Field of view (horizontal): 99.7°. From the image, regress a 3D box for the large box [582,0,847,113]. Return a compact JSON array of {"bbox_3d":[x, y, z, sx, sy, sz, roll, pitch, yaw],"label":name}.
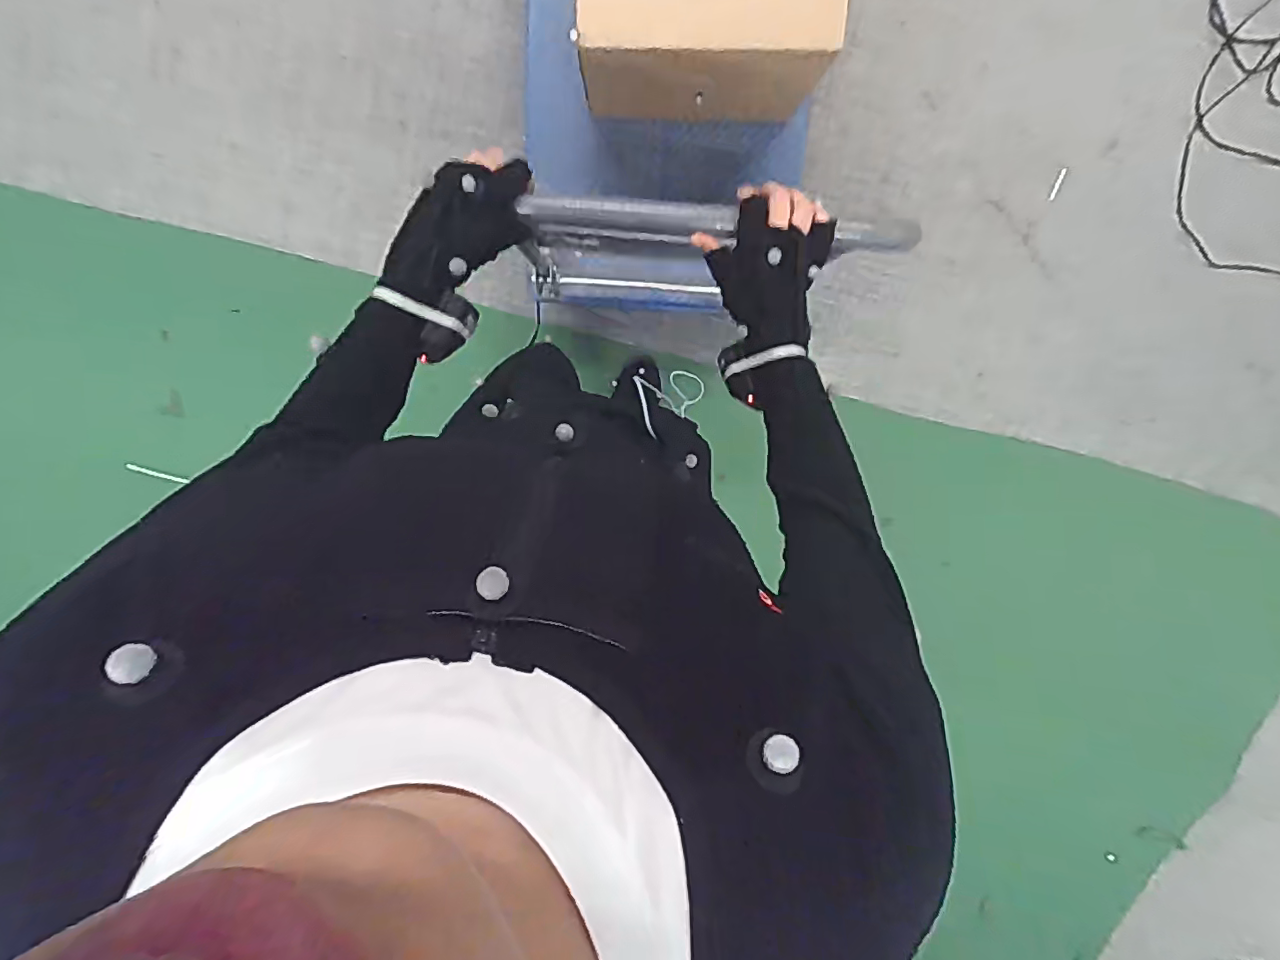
[{"bbox_3d":[0.112,-0.850,0.920,0.408,0.320,0.320,1,106,-1],"label":"large box"}]
